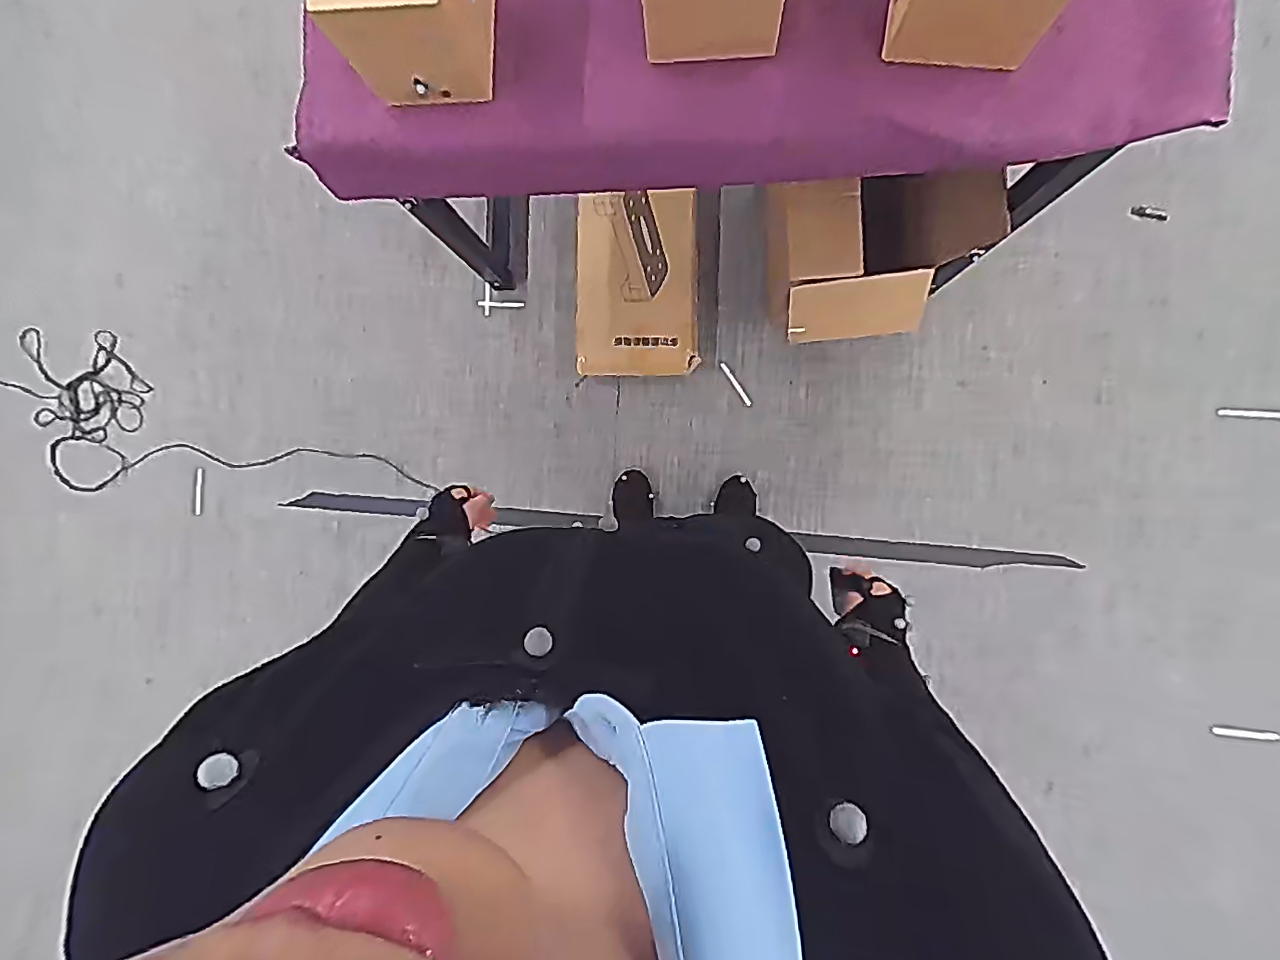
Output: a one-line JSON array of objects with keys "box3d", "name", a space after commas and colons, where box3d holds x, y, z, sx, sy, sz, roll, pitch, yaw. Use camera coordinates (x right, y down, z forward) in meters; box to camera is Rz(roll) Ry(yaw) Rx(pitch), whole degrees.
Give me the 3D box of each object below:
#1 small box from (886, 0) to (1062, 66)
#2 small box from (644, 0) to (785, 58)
[{"box3d": [0.410, -0.628, 0.631, 0.179, 0.176, 0.168, 8, 92, 5], "name": "small box"}, {"box3d": [0.095, -0.660, 0.660, 0.179, 0.176, 0.168, 1, 88, 6], "name": "small box"}]
